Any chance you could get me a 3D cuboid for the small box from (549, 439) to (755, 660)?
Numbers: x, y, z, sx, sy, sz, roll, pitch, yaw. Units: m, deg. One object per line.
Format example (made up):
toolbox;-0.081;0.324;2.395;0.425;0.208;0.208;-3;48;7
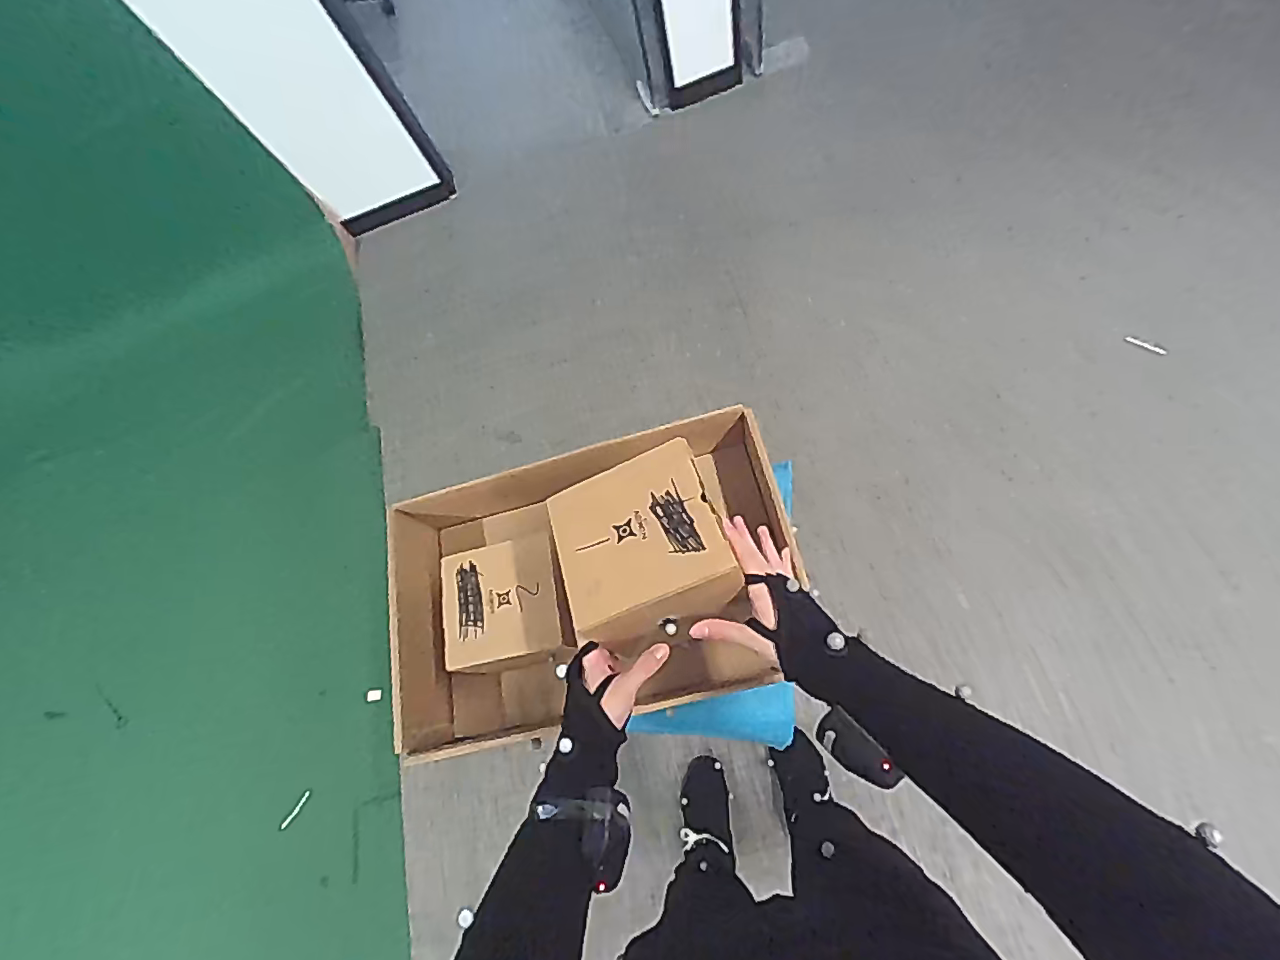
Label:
small box;0.022;0.089;0.624;0.179;0.176;0.168;-25;56;9
